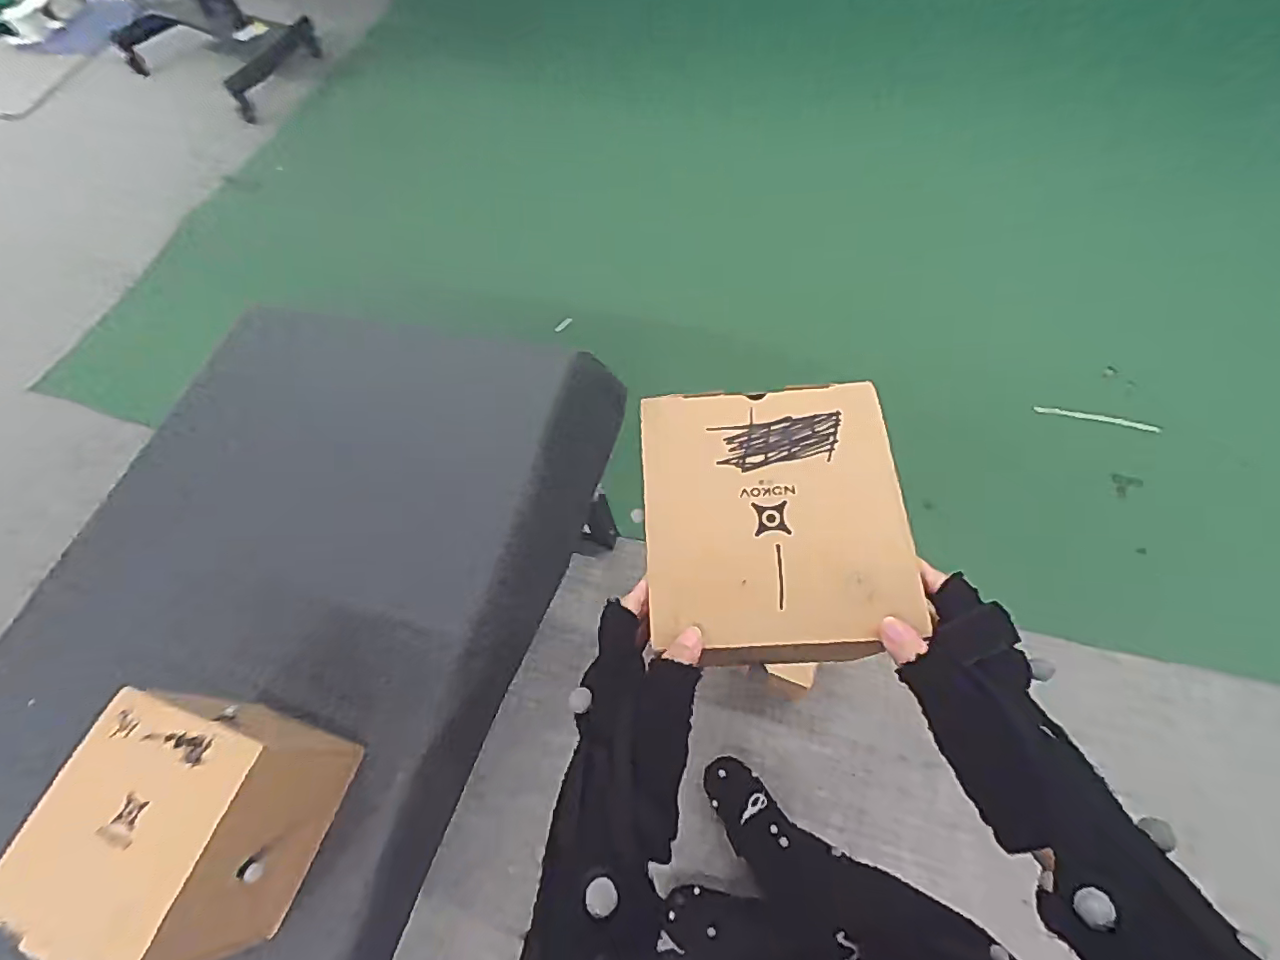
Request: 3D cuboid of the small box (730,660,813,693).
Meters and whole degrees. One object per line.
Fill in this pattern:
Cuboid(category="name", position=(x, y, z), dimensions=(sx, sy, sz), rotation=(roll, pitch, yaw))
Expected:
Cuboid(category="small box", position=(0.311, 0.371, 1.248), dimensions=(0.168, 0.176, 0.179), rotation=(18, 67, 15))

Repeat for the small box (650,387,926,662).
Cuboid(category="small box", position=(0.094, 0.046, 0.427), dimensions=(0.168, 0.176, 0.179), rotation=(-2, 68, 4))

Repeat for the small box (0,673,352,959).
Cuboid(category="small box", position=(-0.421, 0.308, 0.518), dimensions=(0.168, 0.176, 0.179), rotation=(15, 65, 12))
